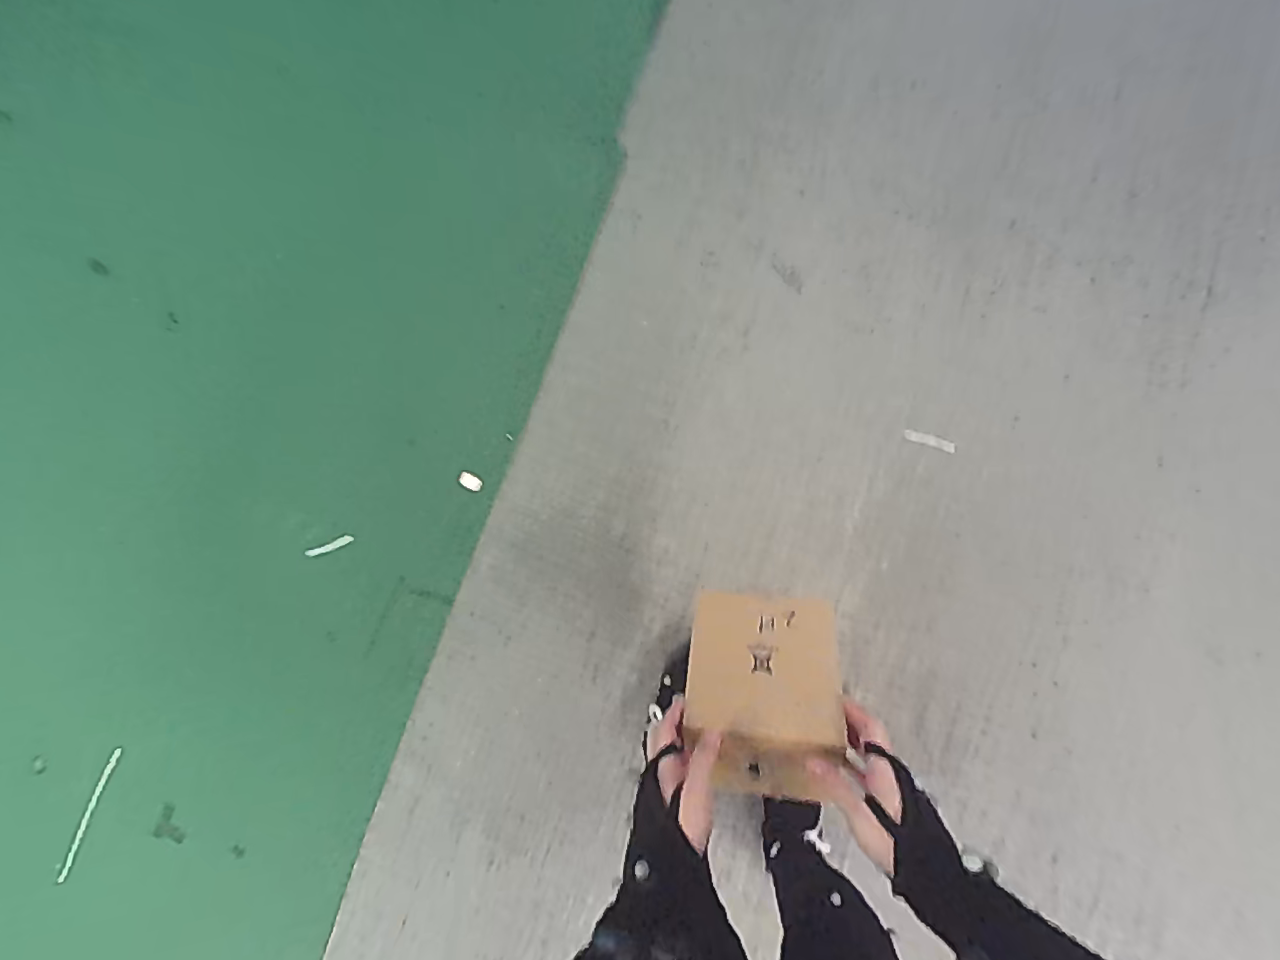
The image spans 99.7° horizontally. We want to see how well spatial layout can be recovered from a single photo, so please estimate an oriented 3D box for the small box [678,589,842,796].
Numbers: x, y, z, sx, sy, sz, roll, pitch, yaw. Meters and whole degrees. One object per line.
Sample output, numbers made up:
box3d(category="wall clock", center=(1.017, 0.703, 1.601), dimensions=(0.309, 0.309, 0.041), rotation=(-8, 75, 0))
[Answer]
box3d(category="small box", center=(0.144, 0.256, 0.654), dimensions=(0.168, 0.176, 0.179), rotation=(1, 43, 12))
